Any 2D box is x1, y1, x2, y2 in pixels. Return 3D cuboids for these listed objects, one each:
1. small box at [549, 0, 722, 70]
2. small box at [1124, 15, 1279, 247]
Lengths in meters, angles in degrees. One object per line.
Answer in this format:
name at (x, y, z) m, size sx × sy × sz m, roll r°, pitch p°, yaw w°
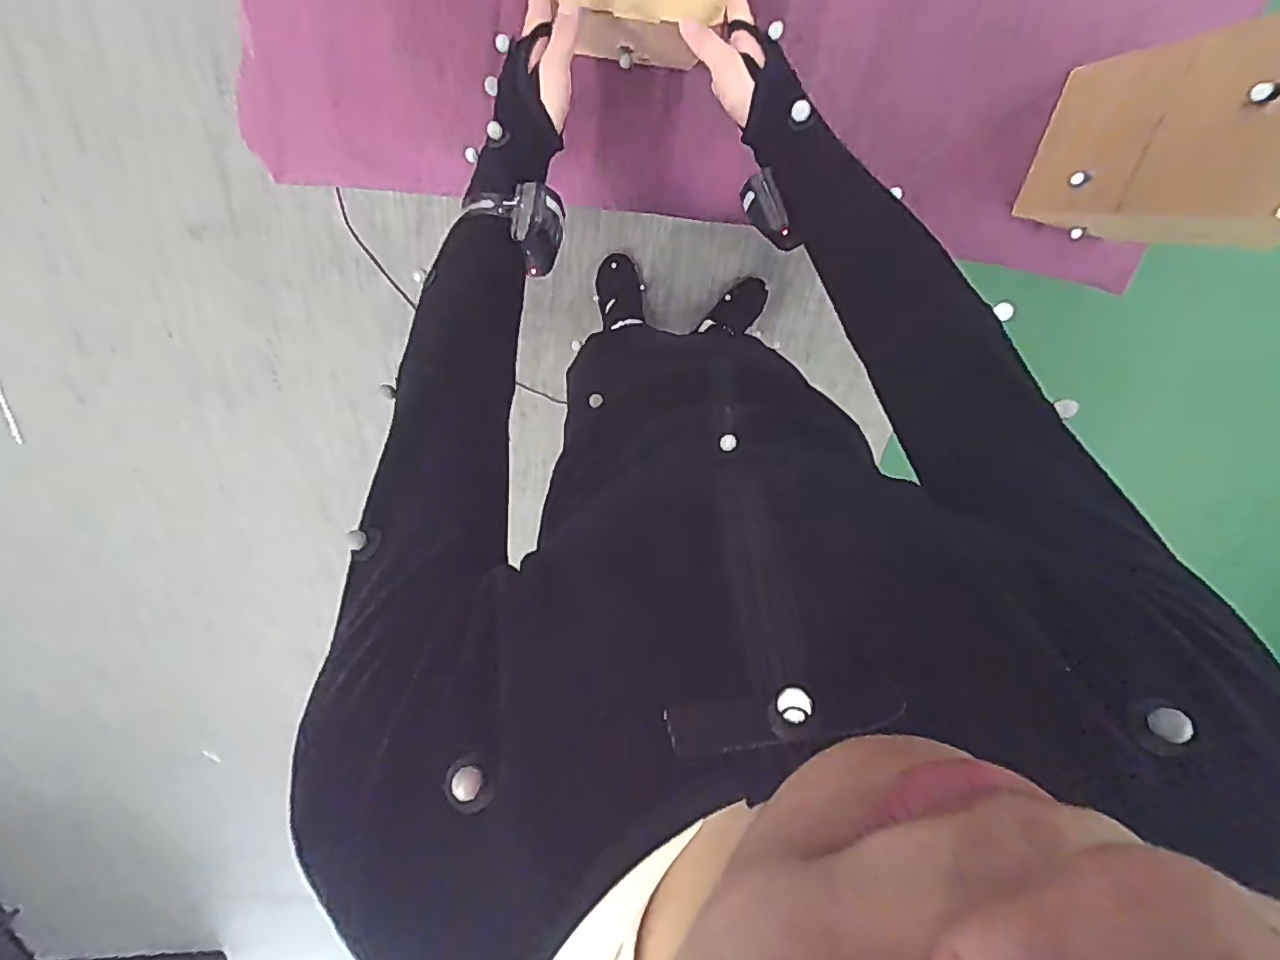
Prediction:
small box at (-0.005, -0.541, 0.535) m, size 0.168 × 0.176 × 0.179 m, roll 3°, pitch 117°, yaw -7°
small box at (0.642, -0.334, 0.525) m, size 0.168 × 0.176 × 0.179 m, roll 8°, pitch 115°, yaw -9°
